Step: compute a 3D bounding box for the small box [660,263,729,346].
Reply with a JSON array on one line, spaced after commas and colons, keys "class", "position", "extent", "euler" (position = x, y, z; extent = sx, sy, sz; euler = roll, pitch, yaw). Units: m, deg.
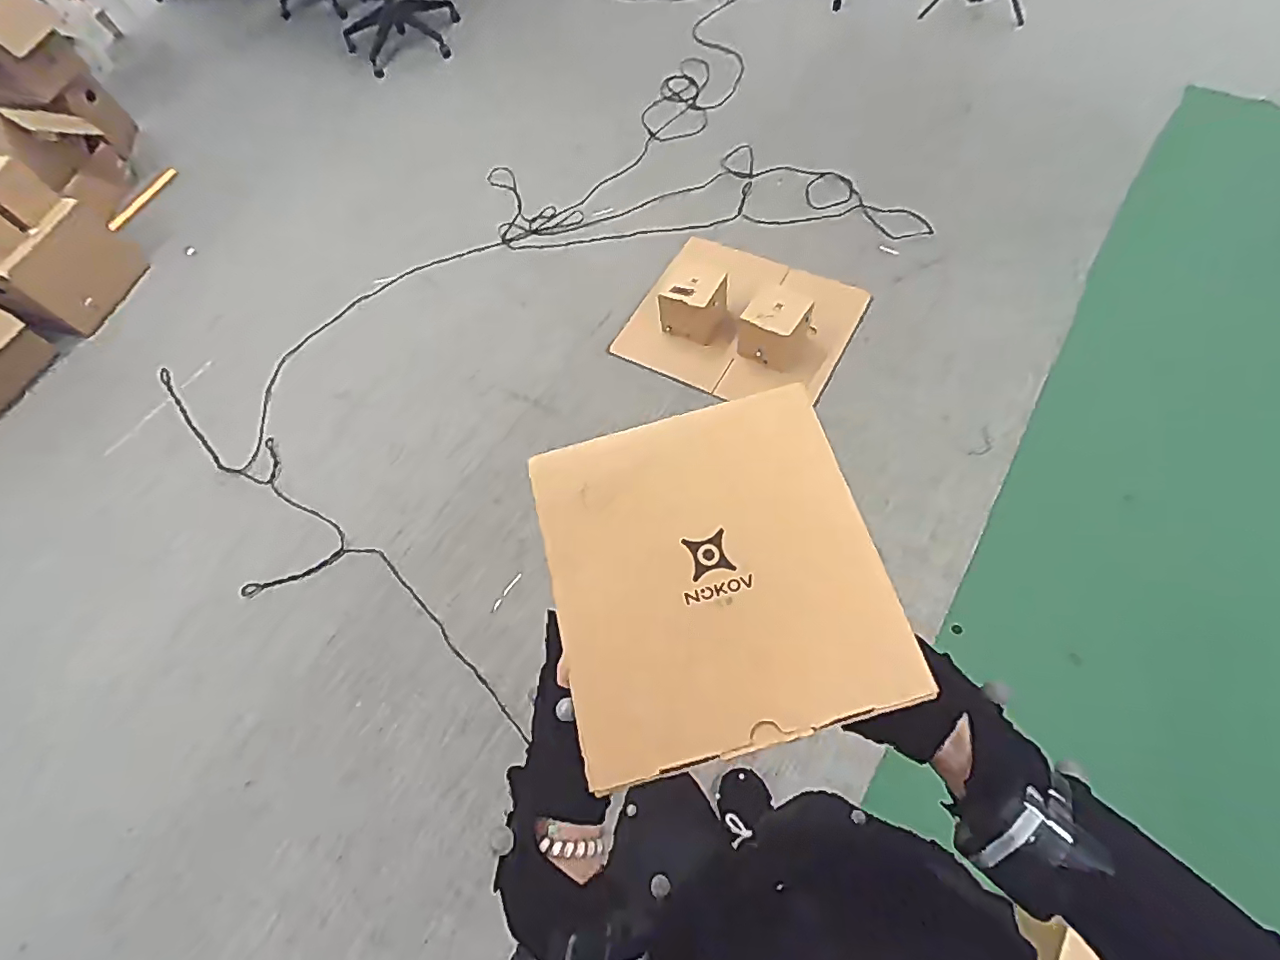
[{"class": "small box", "position": [0.183, -0.573, 1.782], "extent": [0.168, 0.176, 0.179], "euler": [24, 68, 18]}]

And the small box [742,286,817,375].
[{"class": "small box", "position": [0.430, -0.468, 1.702], "extent": [0.168, 0.176, 0.179], "euler": [30, 71, 21]}]

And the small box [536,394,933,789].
[{"class": "small box", "position": [0.043, 0.075, 0.354], "extent": [0.168, 0.176, 0.179], "euler": [-15, 68, -2]}]
